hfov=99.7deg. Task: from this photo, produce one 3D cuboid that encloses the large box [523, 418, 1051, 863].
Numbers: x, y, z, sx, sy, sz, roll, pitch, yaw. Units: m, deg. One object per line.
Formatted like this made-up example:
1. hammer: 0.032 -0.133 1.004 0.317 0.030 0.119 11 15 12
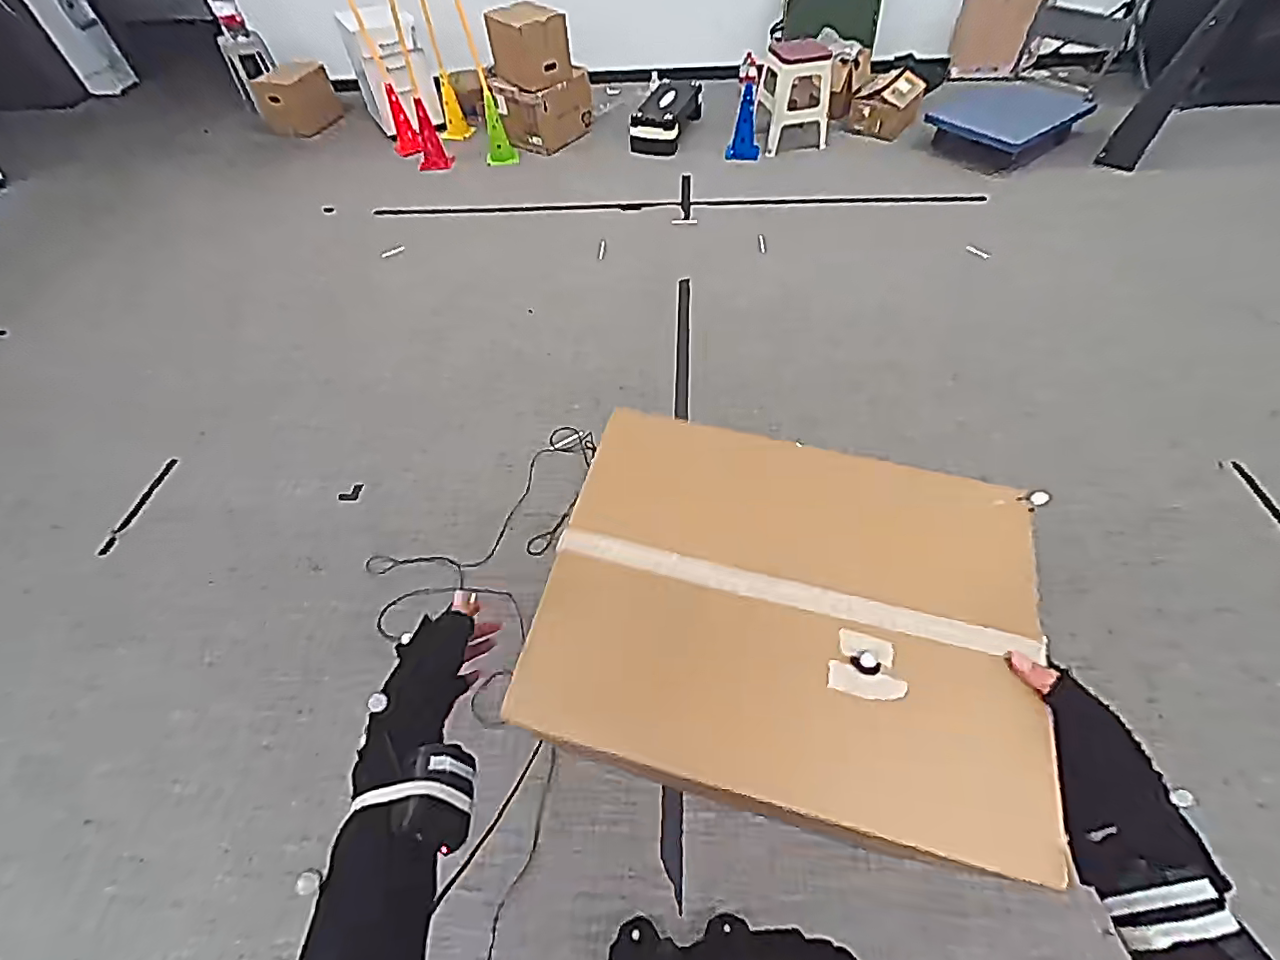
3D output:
1. large box: 0.135 0.175 0.603 0.408 0.320 0.320 13 61 9
